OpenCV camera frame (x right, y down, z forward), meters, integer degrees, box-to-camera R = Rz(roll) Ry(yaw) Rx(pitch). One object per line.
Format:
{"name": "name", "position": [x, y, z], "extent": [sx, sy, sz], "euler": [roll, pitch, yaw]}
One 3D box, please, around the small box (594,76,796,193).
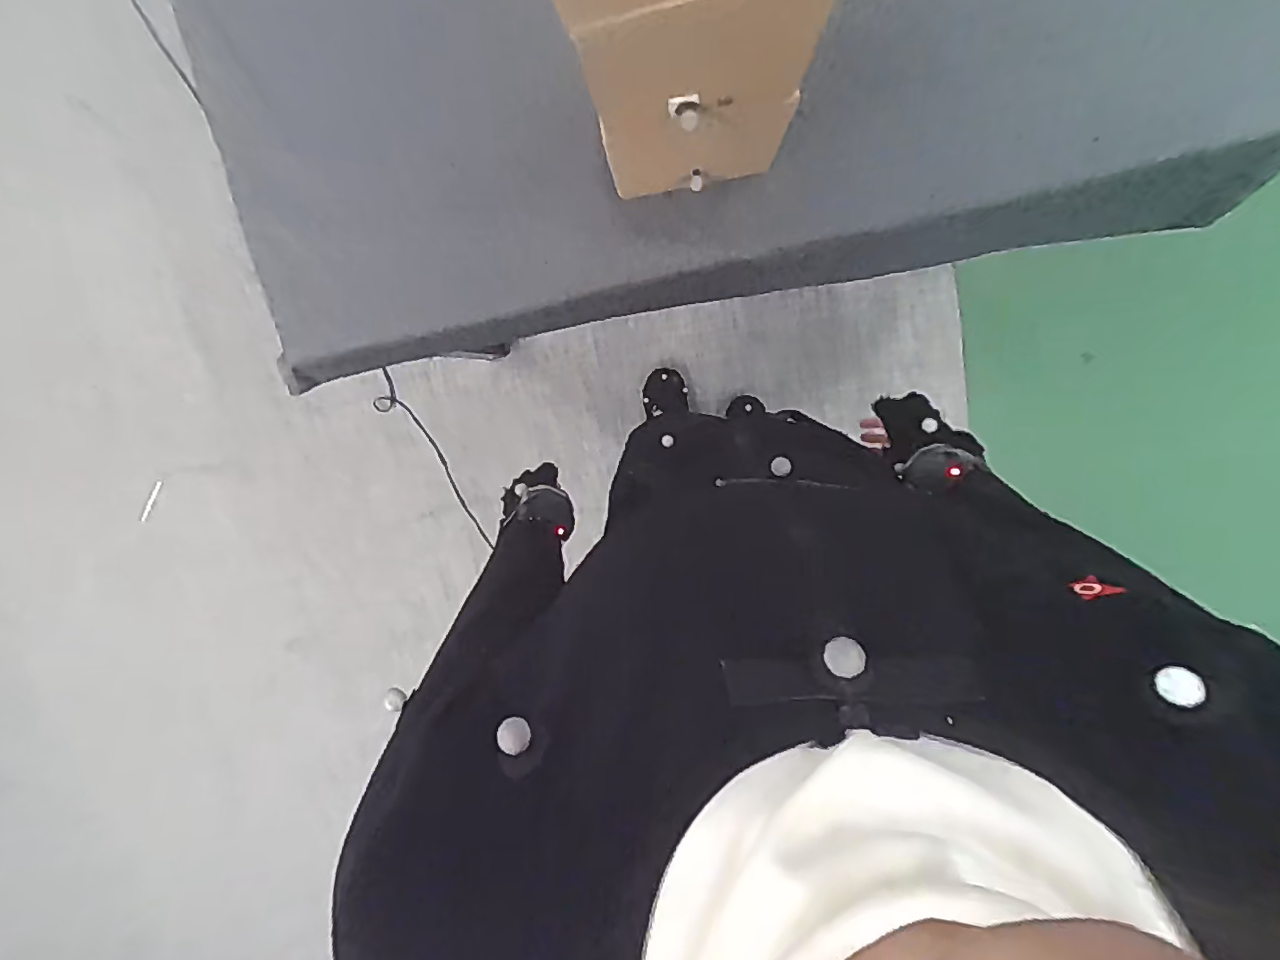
{"name": "small box", "position": [0.041, -0.411, 0.539], "extent": [0.179, 0.176, 0.168], "euler": [-9, 100, 4]}

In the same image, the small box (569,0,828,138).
{"name": "small box", "position": [0.029, -0.383, 0.379], "extent": [0.168, 0.176, 0.179], "euler": [-11, 101, 7]}
